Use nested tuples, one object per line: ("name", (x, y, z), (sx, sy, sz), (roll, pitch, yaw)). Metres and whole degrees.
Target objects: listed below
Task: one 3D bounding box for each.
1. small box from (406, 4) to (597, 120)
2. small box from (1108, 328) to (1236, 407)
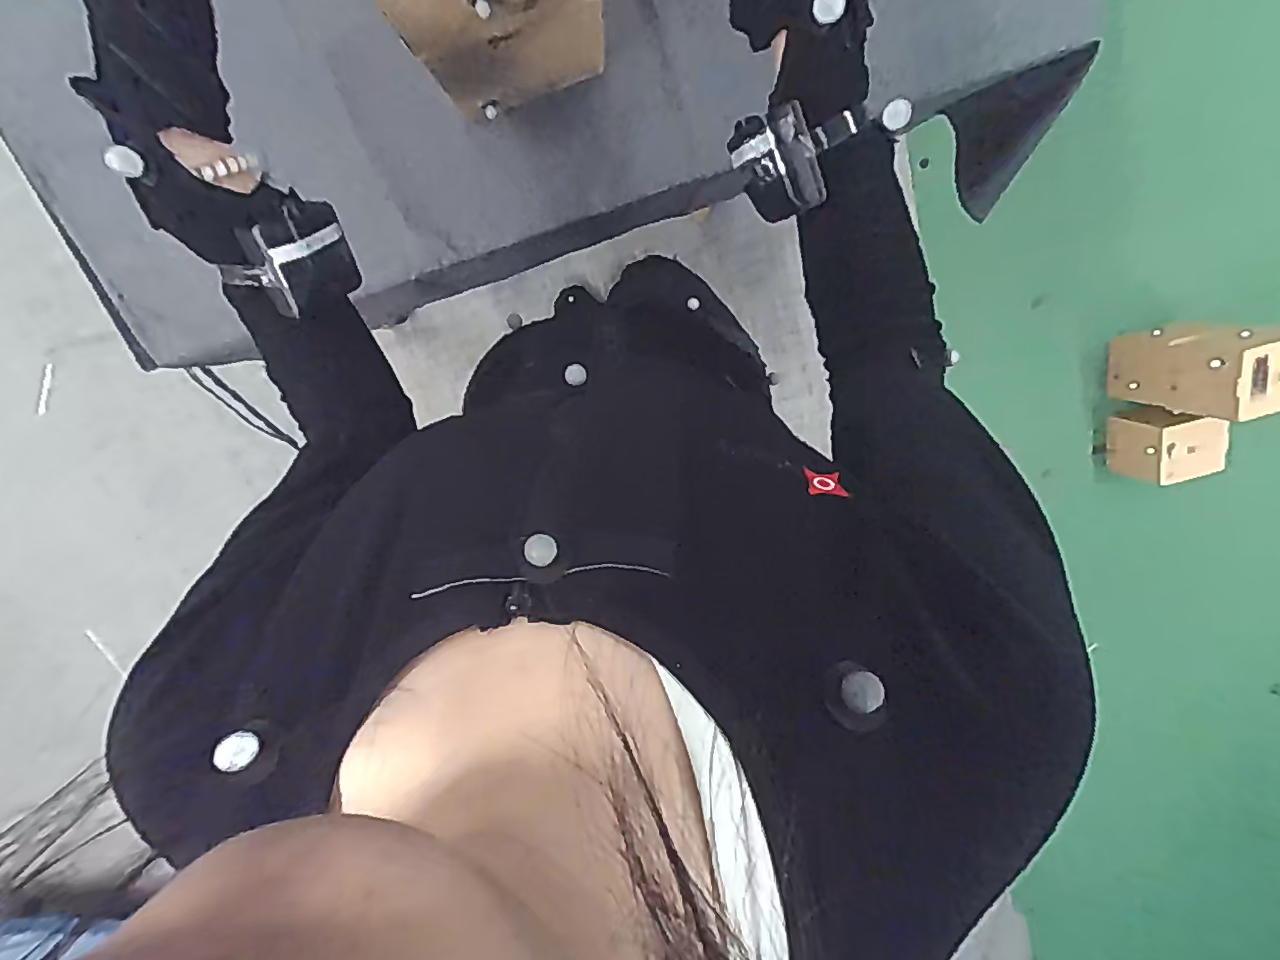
("small box", (-0.144, -0.478, 0.517), (0.168, 0.176, 0.179), (-19, 106, 3))
("small box", (1.380, -0.298, 1.416), (0.179, 0.176, 0.168), (-13, 108, 1))
